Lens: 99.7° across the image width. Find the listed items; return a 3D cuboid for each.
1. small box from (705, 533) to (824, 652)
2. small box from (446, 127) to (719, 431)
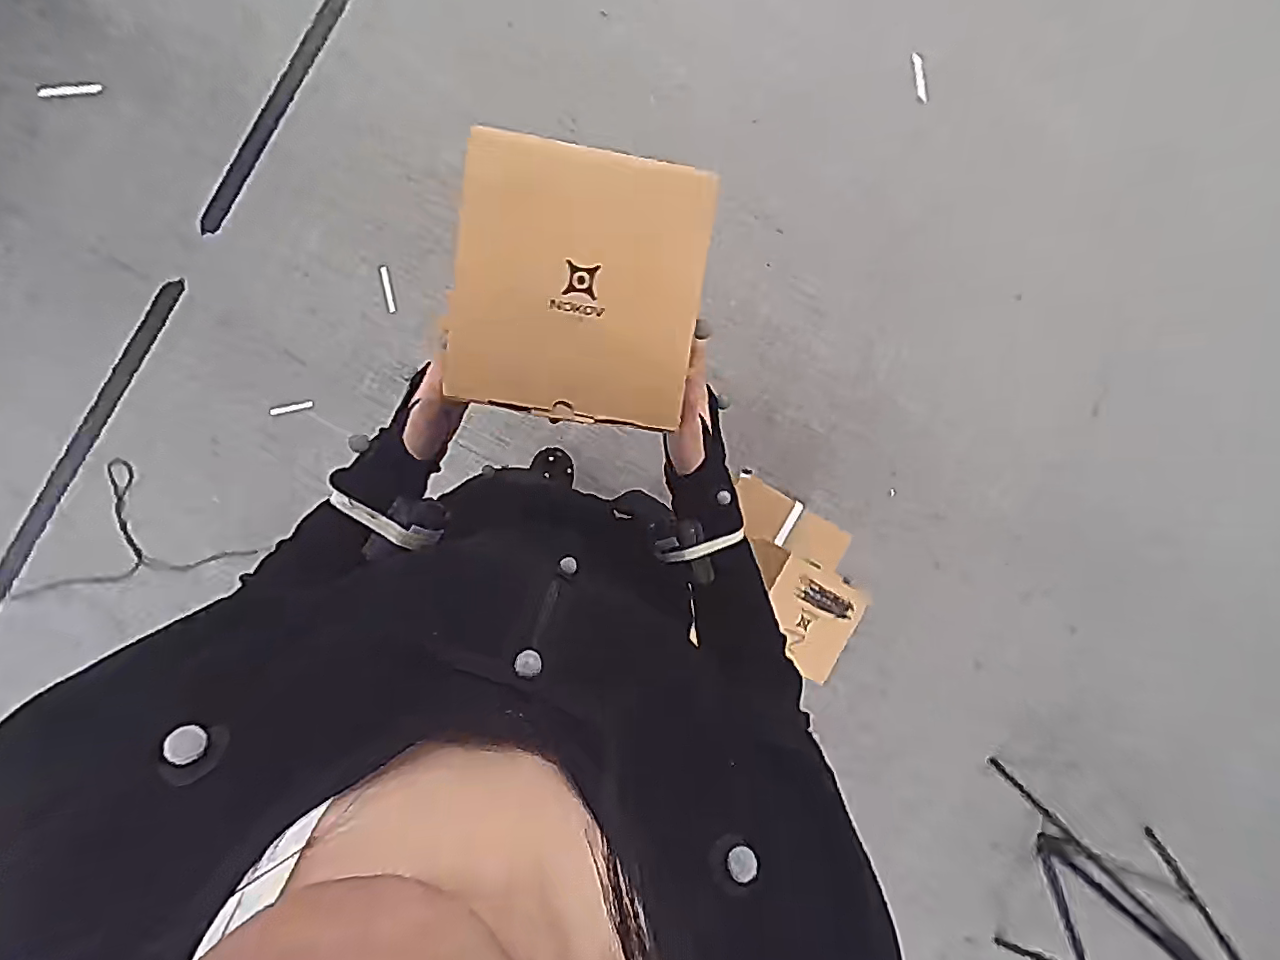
[{"bbox_3d":[0.256,0.231,1.161,0.168,0.176,0.179,28,91,-5],"label":"small box"},{"bbox_3d":[-0.046,-0.143,0.445,0.168,0.176,0.179,8,99,-6],"label":"small box"}]
